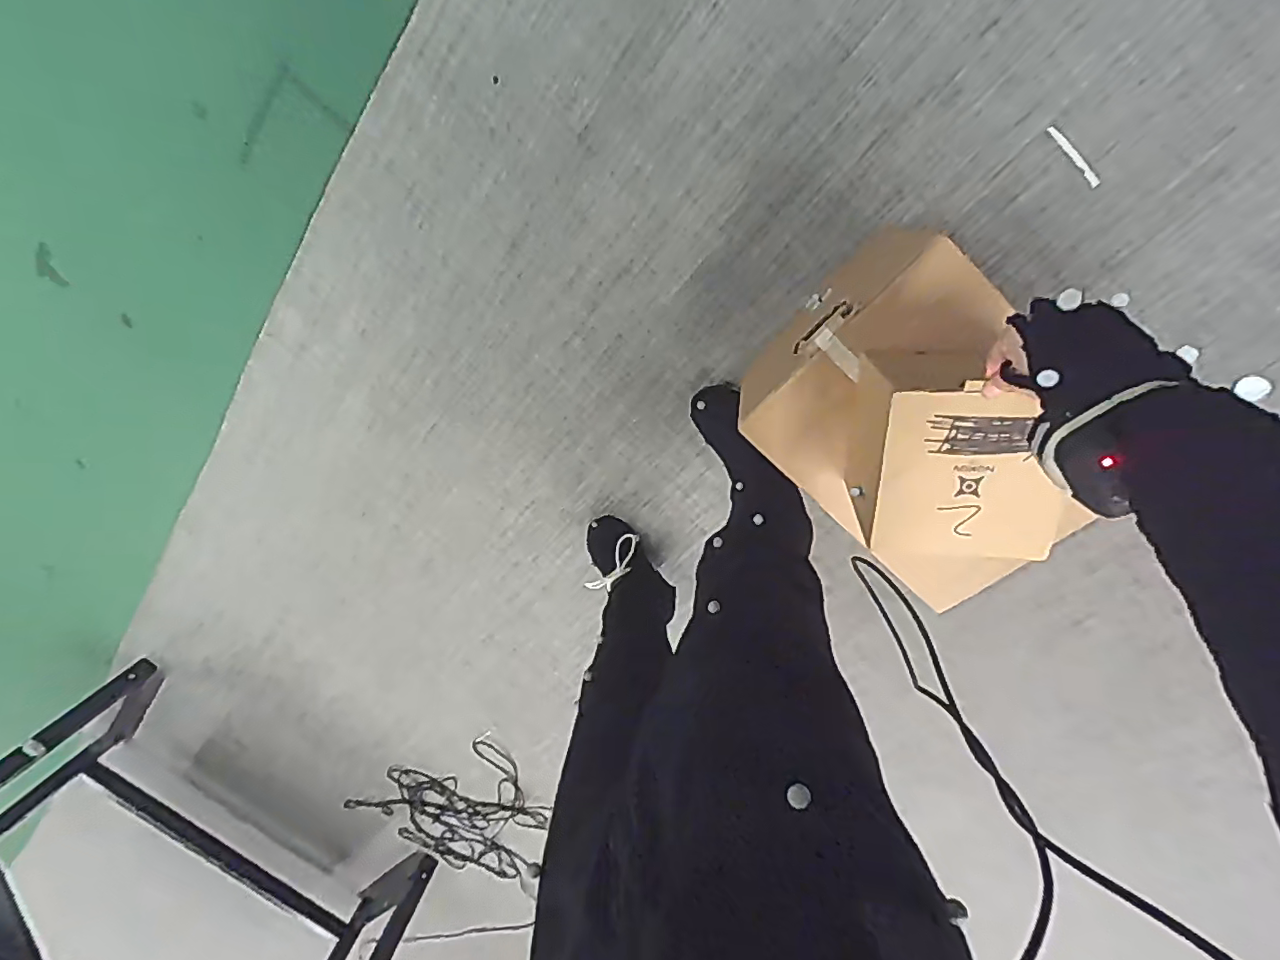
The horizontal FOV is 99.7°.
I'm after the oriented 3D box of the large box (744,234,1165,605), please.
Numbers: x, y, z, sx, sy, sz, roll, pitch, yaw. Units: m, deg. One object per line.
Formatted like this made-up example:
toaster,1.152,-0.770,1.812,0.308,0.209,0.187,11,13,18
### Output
large box,0.403,-0.105,0.806,0.408,0.320,0.320,41,117,-9
